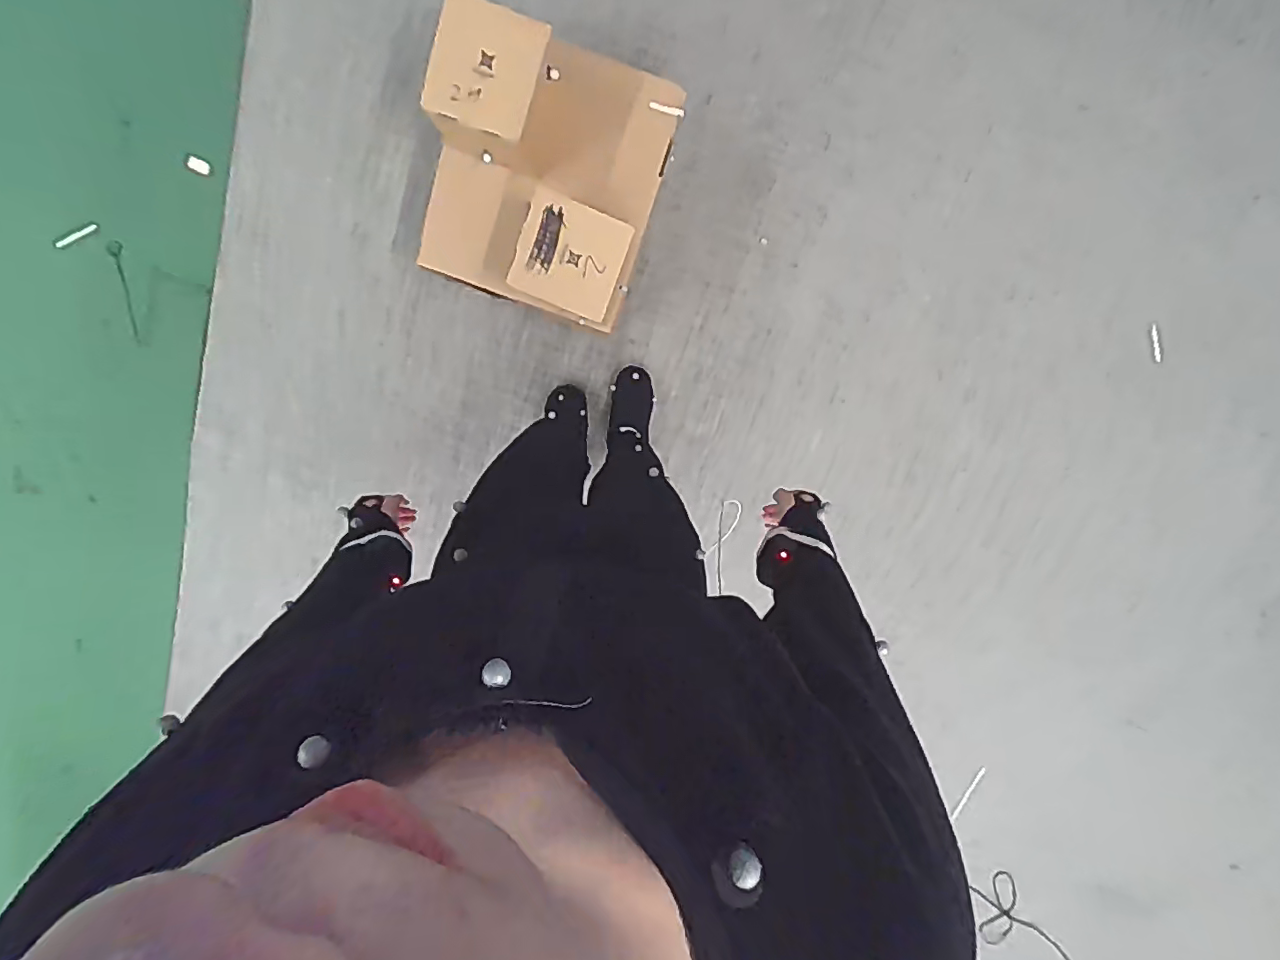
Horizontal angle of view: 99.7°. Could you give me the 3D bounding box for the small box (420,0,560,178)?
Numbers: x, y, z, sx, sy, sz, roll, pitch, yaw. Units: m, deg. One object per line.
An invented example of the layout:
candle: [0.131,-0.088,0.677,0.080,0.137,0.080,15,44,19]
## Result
small box: [-0.241,-0.652,0.913,0.168,0.176,0.179,19,101,-4]
